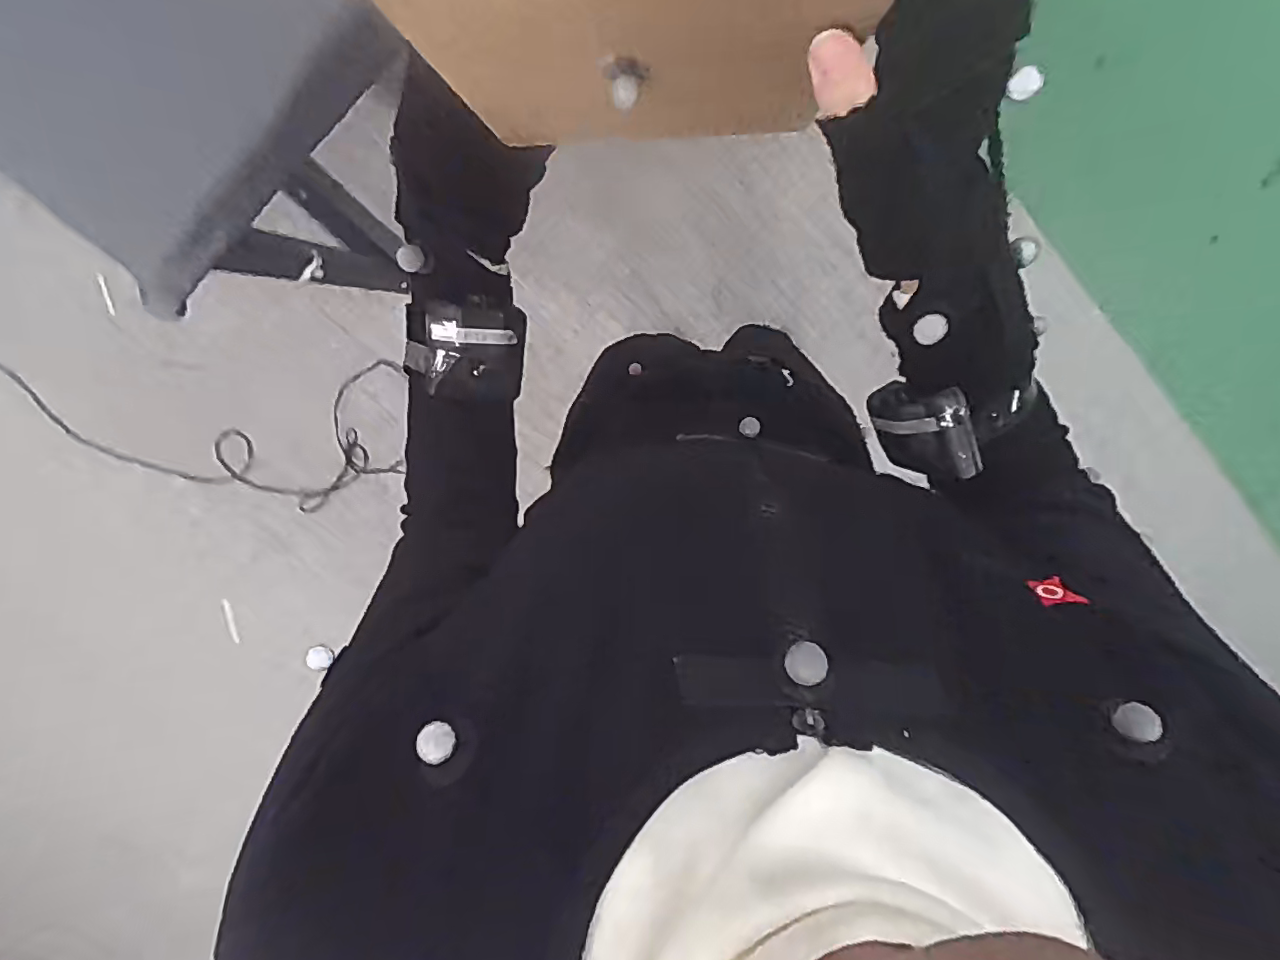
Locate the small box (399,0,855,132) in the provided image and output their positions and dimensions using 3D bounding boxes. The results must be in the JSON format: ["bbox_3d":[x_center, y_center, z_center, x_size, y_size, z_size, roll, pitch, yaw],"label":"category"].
[{"bbox_3d":[0.000,-0.266,0.222,0.179,0.176,0.168,-1,105,4],"label":"small box"}]
